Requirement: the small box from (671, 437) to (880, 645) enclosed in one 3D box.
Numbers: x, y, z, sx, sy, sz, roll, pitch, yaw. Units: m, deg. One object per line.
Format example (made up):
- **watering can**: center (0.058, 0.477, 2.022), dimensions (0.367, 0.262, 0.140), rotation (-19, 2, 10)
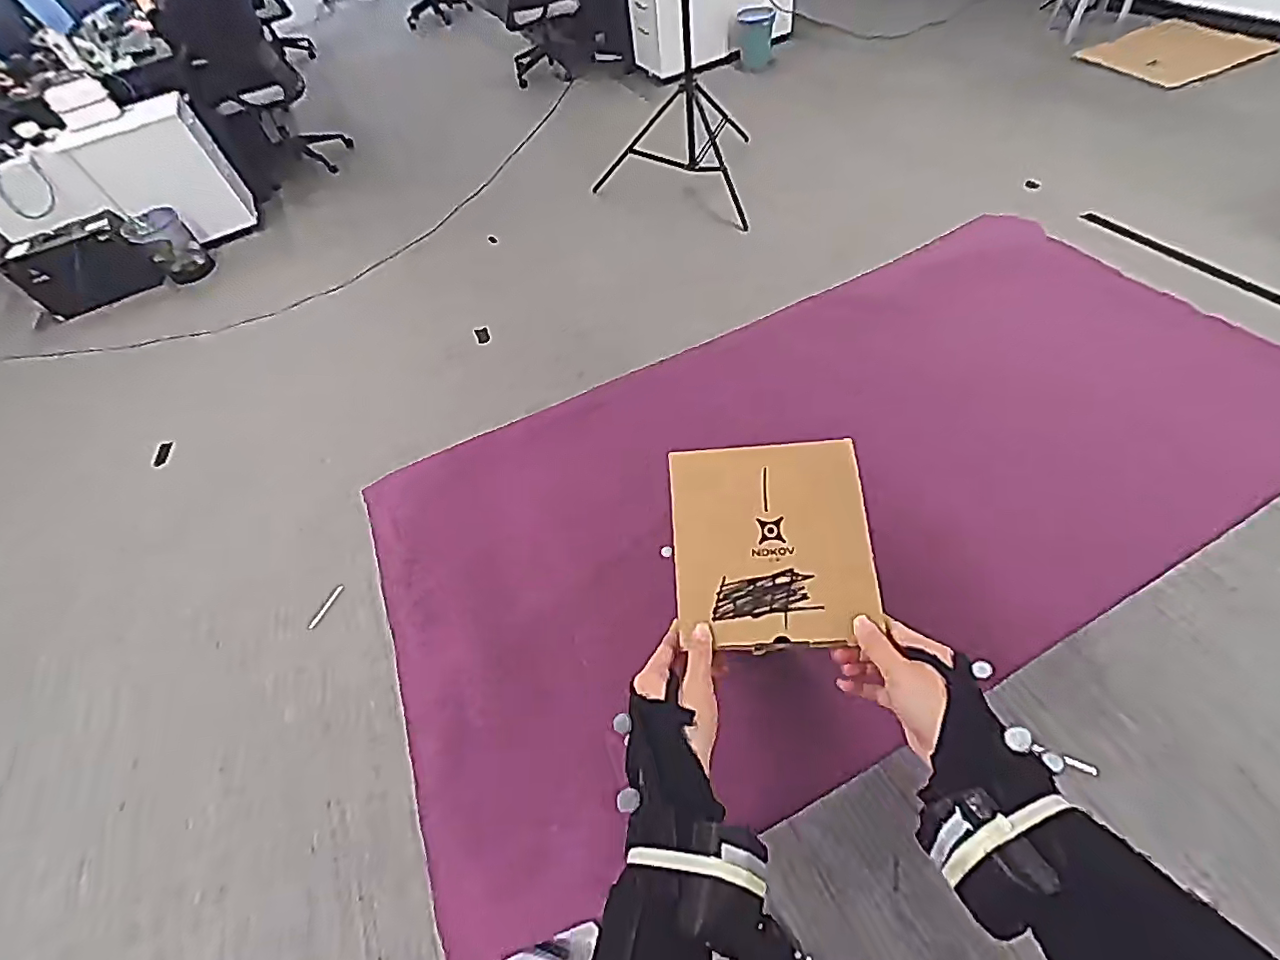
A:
- **small box**: center (0.120, 0.072, 0.539), dimensions (0.168, 0.176, 0.179), rotation (-3, 71, 5)
